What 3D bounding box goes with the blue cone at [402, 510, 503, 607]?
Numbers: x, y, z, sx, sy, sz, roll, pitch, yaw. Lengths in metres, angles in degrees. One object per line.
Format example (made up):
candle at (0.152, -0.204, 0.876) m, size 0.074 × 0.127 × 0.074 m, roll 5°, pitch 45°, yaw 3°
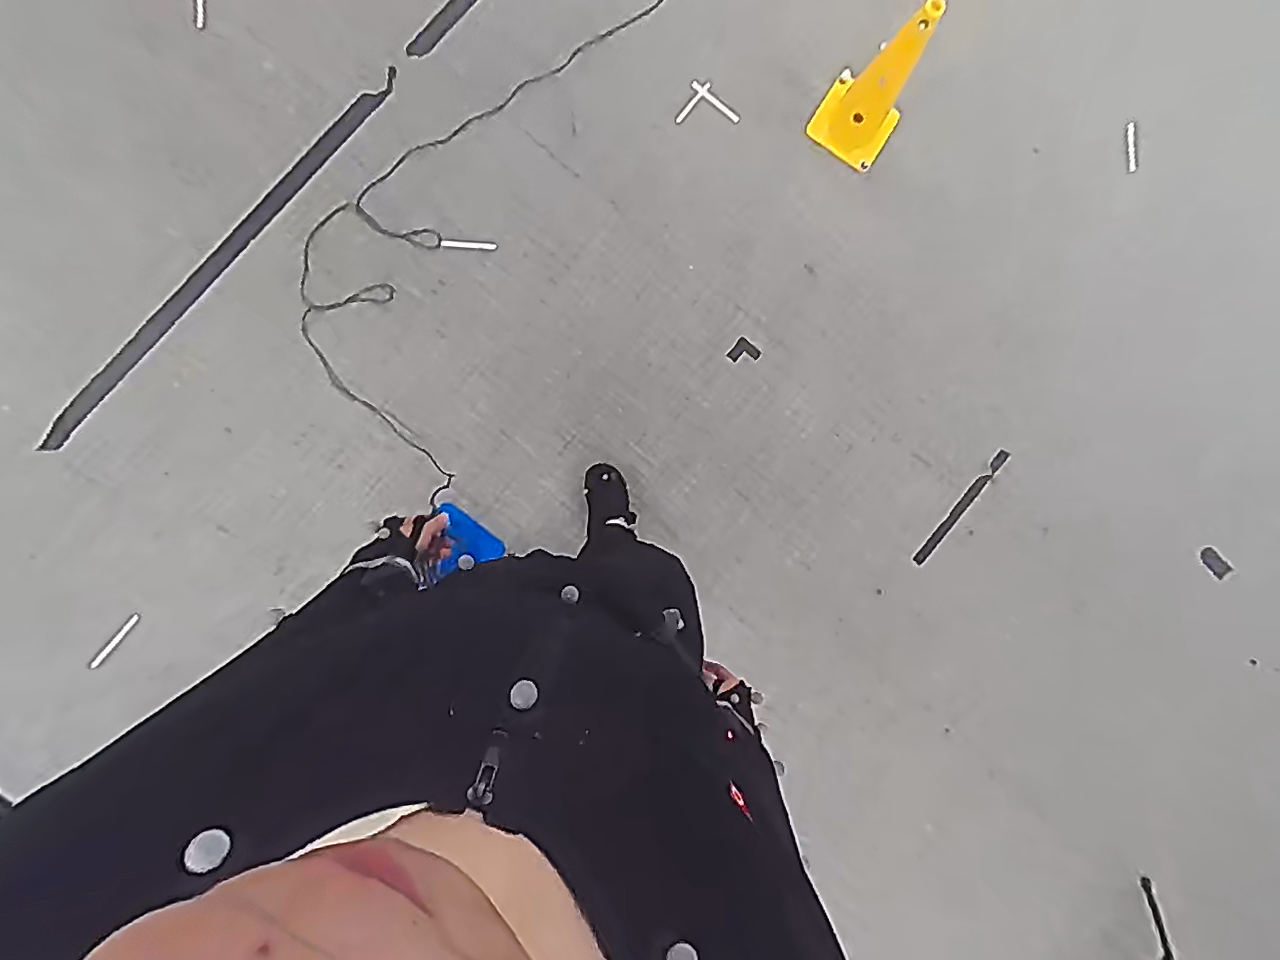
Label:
blue cone at (-0.441, 0.190, 1.167) m, size 0.192 × 0.380 × 0.193 m, roll 40°, pitch 86°, yaw -4°
